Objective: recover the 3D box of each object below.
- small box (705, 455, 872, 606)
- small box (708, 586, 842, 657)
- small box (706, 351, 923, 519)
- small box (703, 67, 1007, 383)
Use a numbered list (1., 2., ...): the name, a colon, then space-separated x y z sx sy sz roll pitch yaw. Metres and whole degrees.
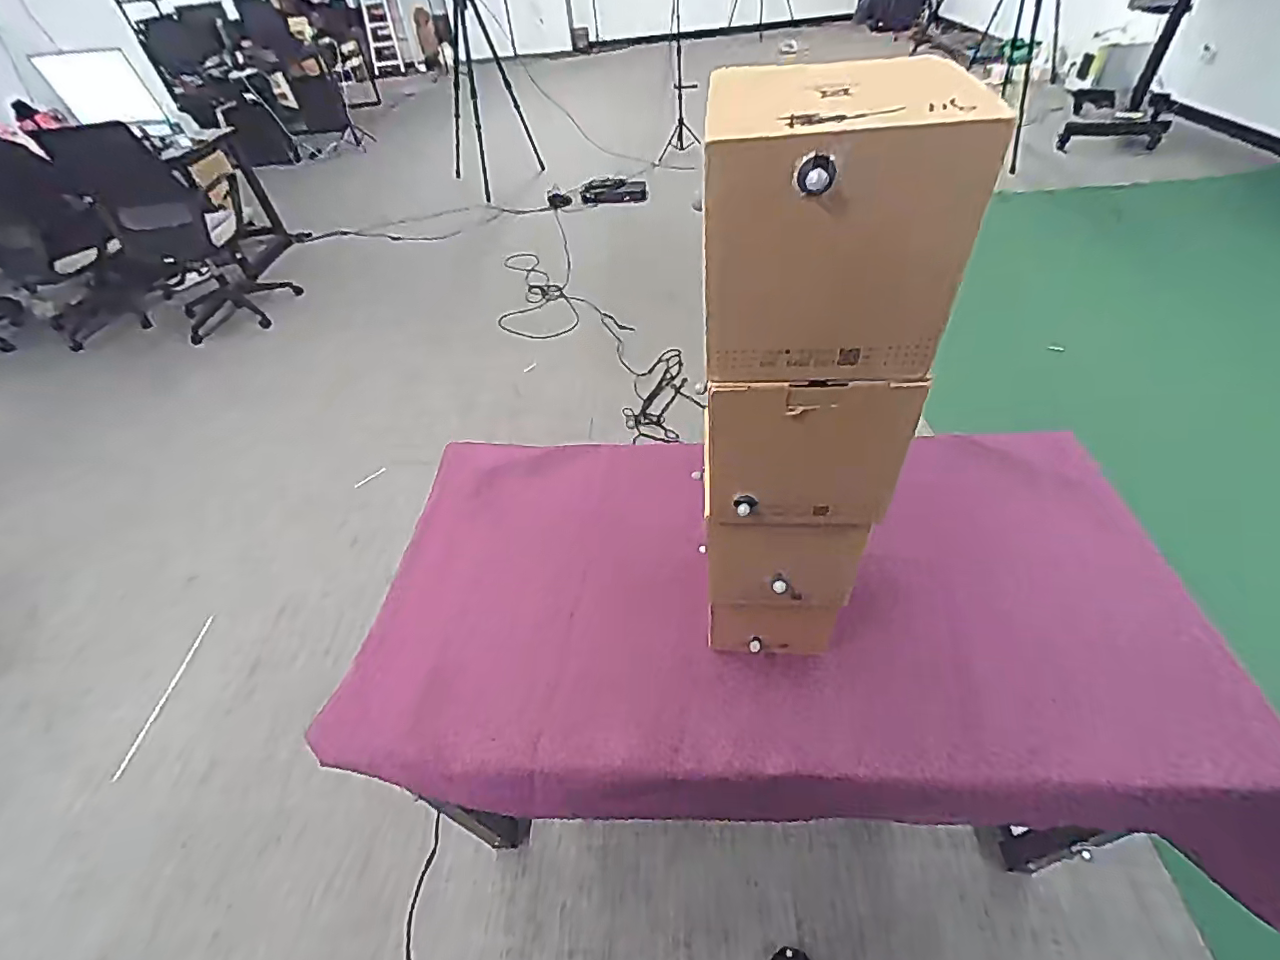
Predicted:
1. small box: 0.163 0.030 0.654 0.168 0.176 0.179 -1 46 8
2. small box: 0.185 0.132 0.781 0.168 0.176 0.179 1 47 9
3. small box: 0.151 -0.076 0.529 0.168 0.176 0.179 0 45 8
4. small box: 0.135 -0.193 0.415 0.168 0.176 0.179 1 45 9
